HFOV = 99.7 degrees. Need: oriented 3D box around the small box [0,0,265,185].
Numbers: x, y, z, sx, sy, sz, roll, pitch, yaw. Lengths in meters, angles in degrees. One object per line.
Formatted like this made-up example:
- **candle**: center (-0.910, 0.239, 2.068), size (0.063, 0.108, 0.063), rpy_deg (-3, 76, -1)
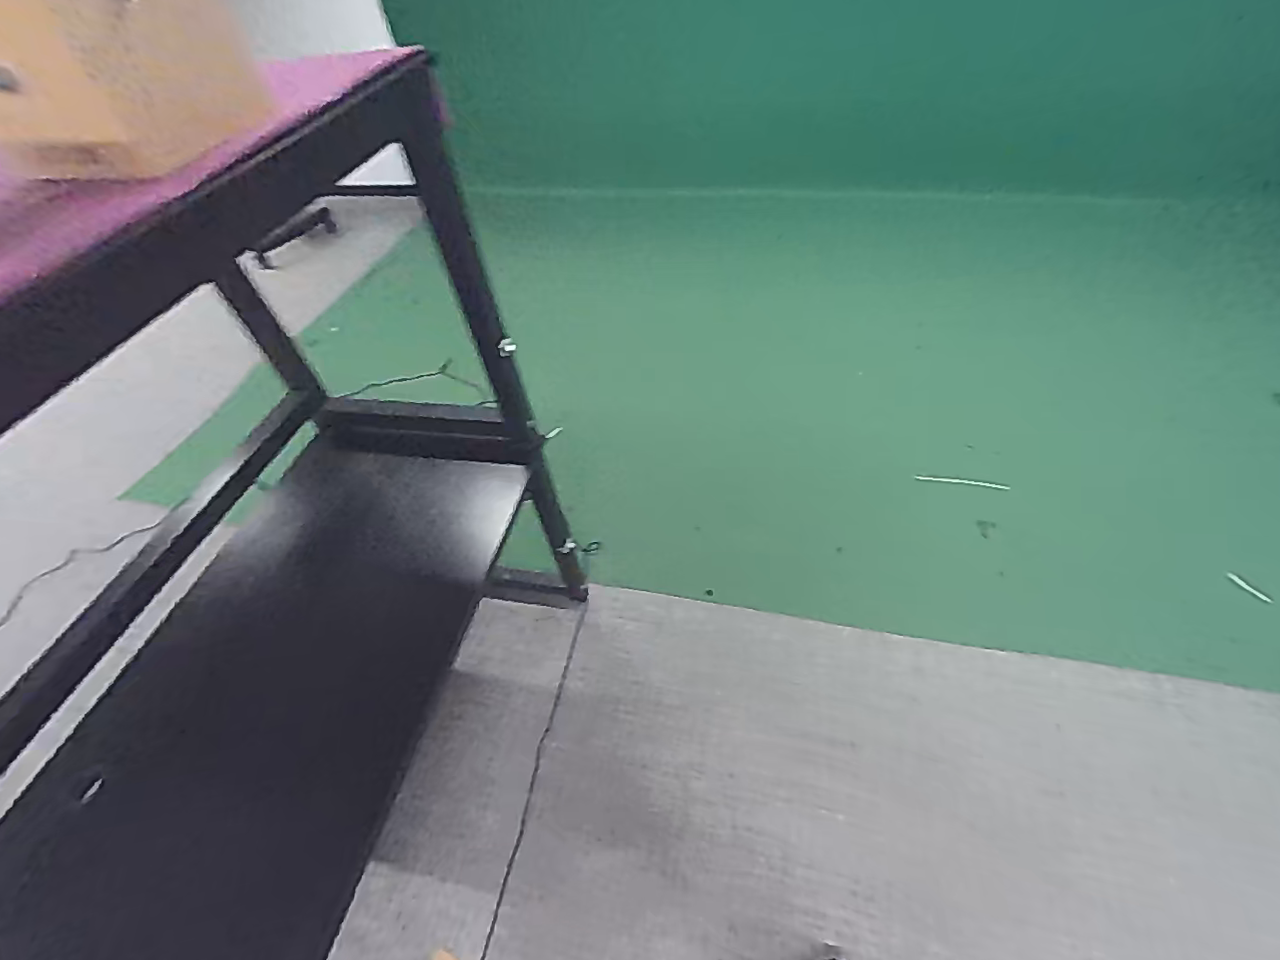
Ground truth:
- **small box**: center (-0.503, -0.391, 0.498), size (0.168, 0.176, 0.179), rpy_deg (6, 50, 11)
